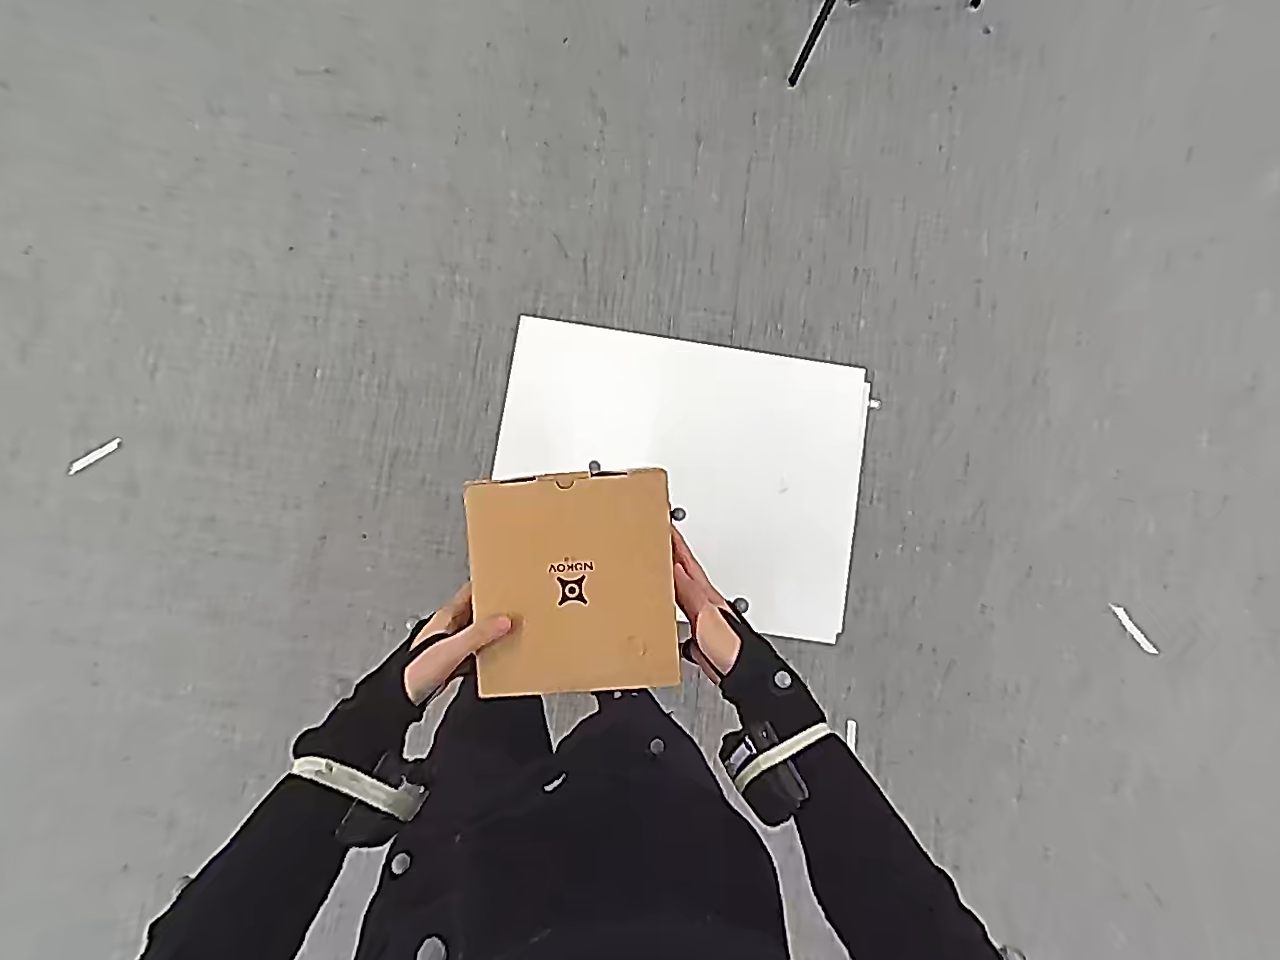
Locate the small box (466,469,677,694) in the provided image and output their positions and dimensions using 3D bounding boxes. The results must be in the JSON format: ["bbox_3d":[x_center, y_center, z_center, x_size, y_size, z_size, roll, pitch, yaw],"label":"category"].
[{"bbox_3d":[-0.052,0.081,0.513,0.168,0.176,0.179,-4,91,1],"label":"small box"}]
